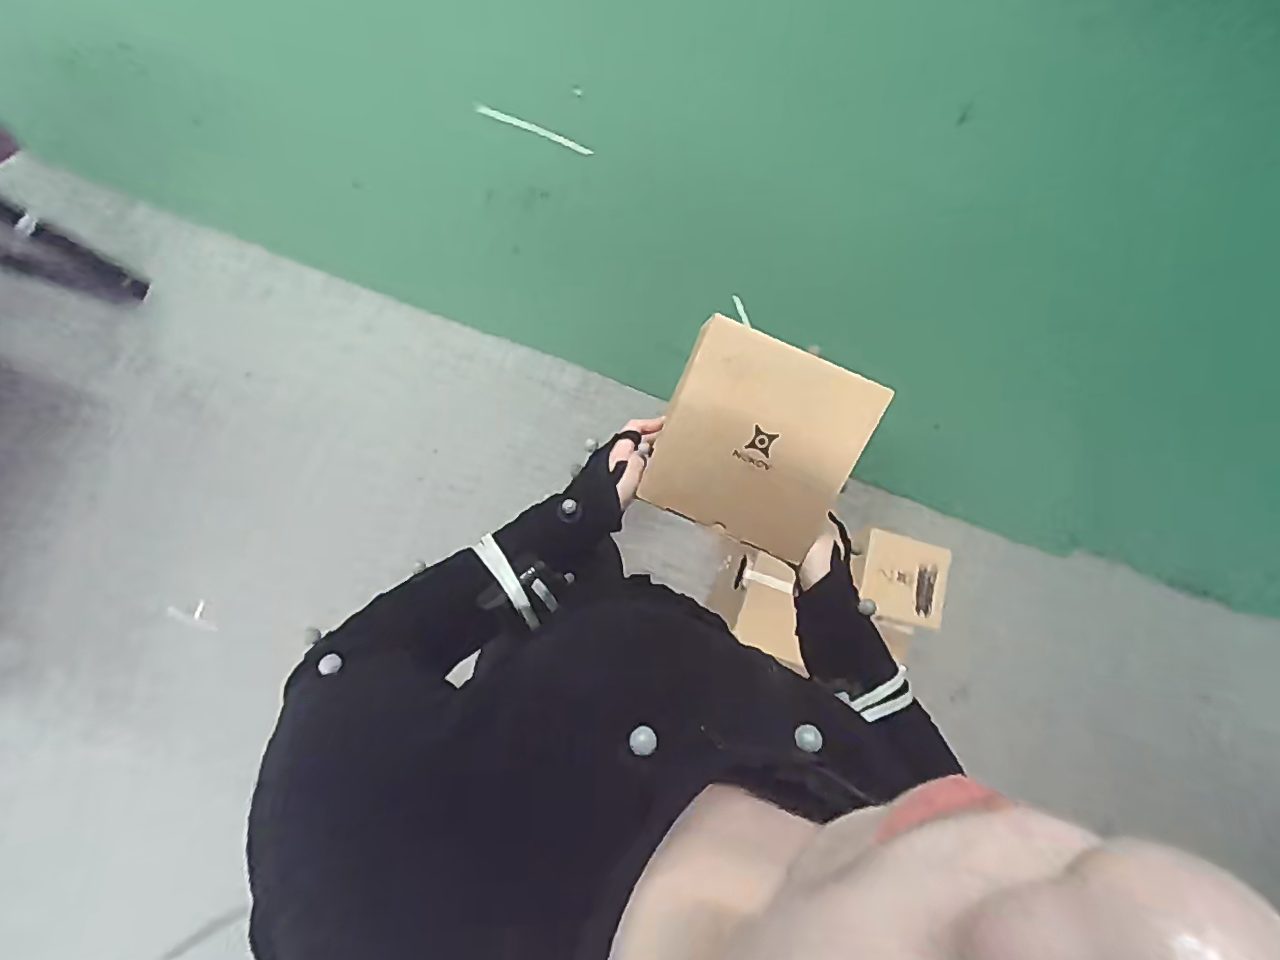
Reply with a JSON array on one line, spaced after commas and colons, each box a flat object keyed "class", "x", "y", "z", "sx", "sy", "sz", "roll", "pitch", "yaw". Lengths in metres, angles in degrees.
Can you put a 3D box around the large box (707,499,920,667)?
[{"class": "large box", "x": 0.419, "y": 0.256, "z": 1.382, "sx": 0.408, "sy": 0.320, "sz": 0.320, "roll": 14, "pitch": 81, "yaw": -4}]
